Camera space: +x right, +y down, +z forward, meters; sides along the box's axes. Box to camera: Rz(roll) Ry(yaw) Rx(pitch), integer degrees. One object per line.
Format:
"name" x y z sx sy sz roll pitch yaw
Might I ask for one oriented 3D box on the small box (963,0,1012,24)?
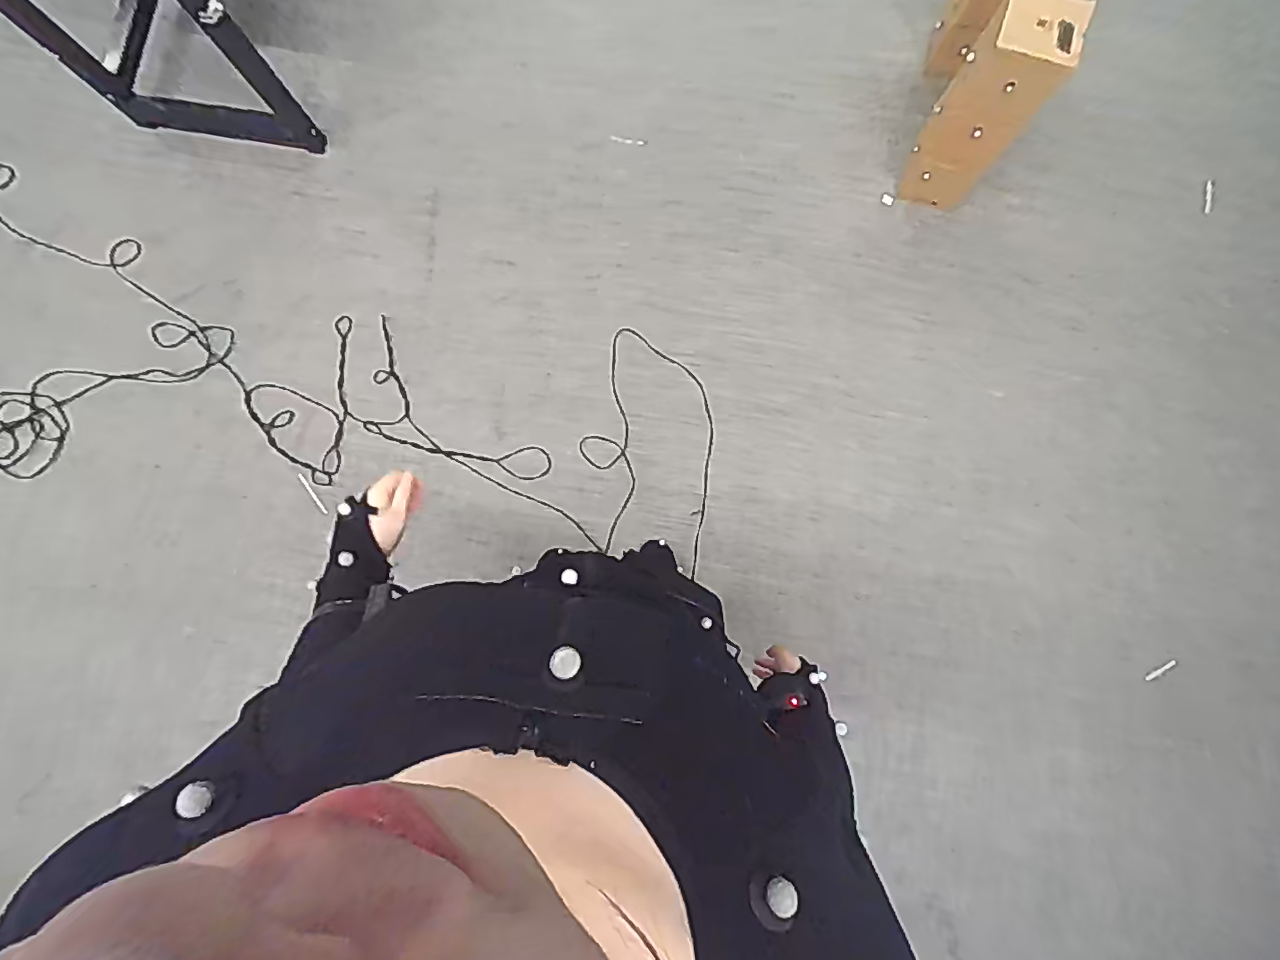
"small box" 0.985 -1.335 1.410 0.179 0.176 0.168 11 83 3

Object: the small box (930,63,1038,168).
"small box" 0.879 -0.932 1.370 0.179 0.176 0.168 17 85 3

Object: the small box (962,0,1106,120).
"small box" 0.869 -0.951 1.207 0.179 0.176 0.168 19 85 4

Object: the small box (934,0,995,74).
"small box" 0.989 -1.321 1.572 0.179 0.176 0.168 14 85 3
